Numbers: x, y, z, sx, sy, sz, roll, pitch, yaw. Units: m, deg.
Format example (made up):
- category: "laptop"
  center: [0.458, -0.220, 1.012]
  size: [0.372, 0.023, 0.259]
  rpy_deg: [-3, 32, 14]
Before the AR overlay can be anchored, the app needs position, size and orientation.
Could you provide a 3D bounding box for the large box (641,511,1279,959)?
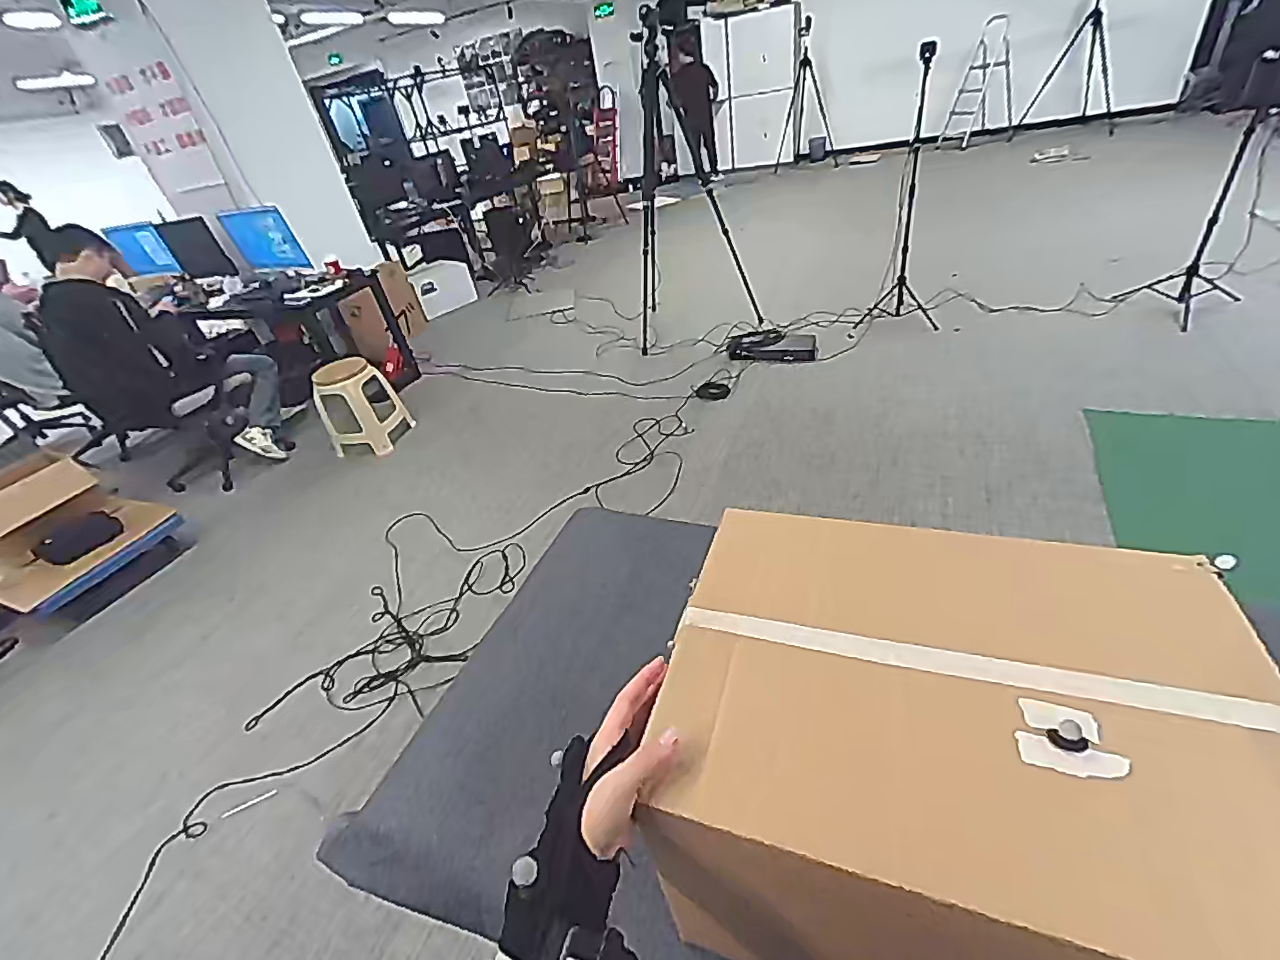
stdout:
- category: "large box"
  center: [0.250, 0.259, 0.506]
  size: [0.408, 0.320, 0.320]
  rpy_deg: [6, 39, 21]
